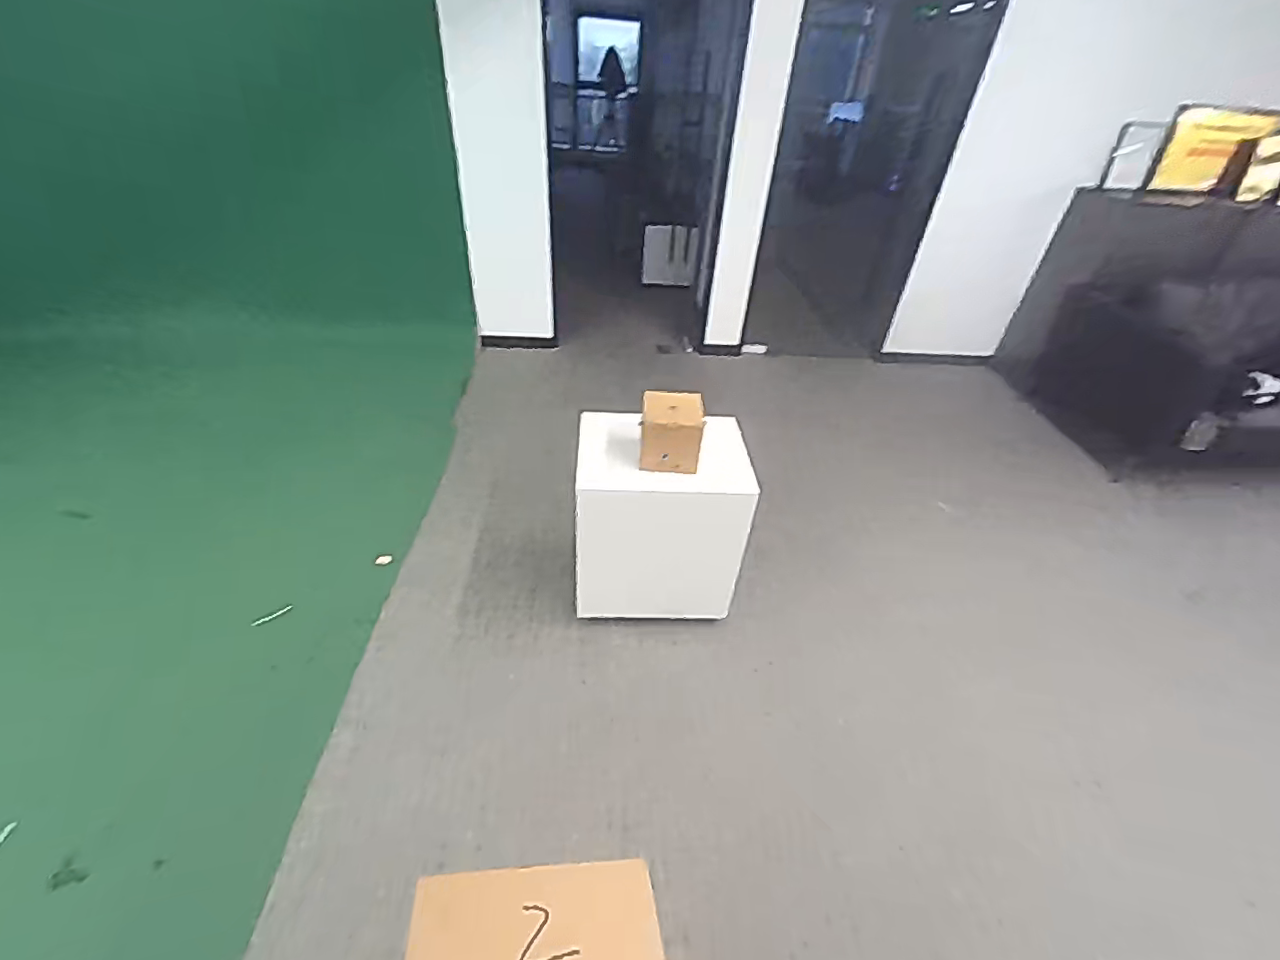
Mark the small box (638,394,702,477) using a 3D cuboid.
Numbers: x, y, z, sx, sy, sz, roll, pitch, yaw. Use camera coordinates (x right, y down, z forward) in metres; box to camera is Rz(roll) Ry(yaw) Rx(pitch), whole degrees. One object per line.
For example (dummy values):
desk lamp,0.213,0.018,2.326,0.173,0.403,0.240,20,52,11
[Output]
small box,0.080,-0.128,1.557,0.168,0.176,0.179,3,38,-2
